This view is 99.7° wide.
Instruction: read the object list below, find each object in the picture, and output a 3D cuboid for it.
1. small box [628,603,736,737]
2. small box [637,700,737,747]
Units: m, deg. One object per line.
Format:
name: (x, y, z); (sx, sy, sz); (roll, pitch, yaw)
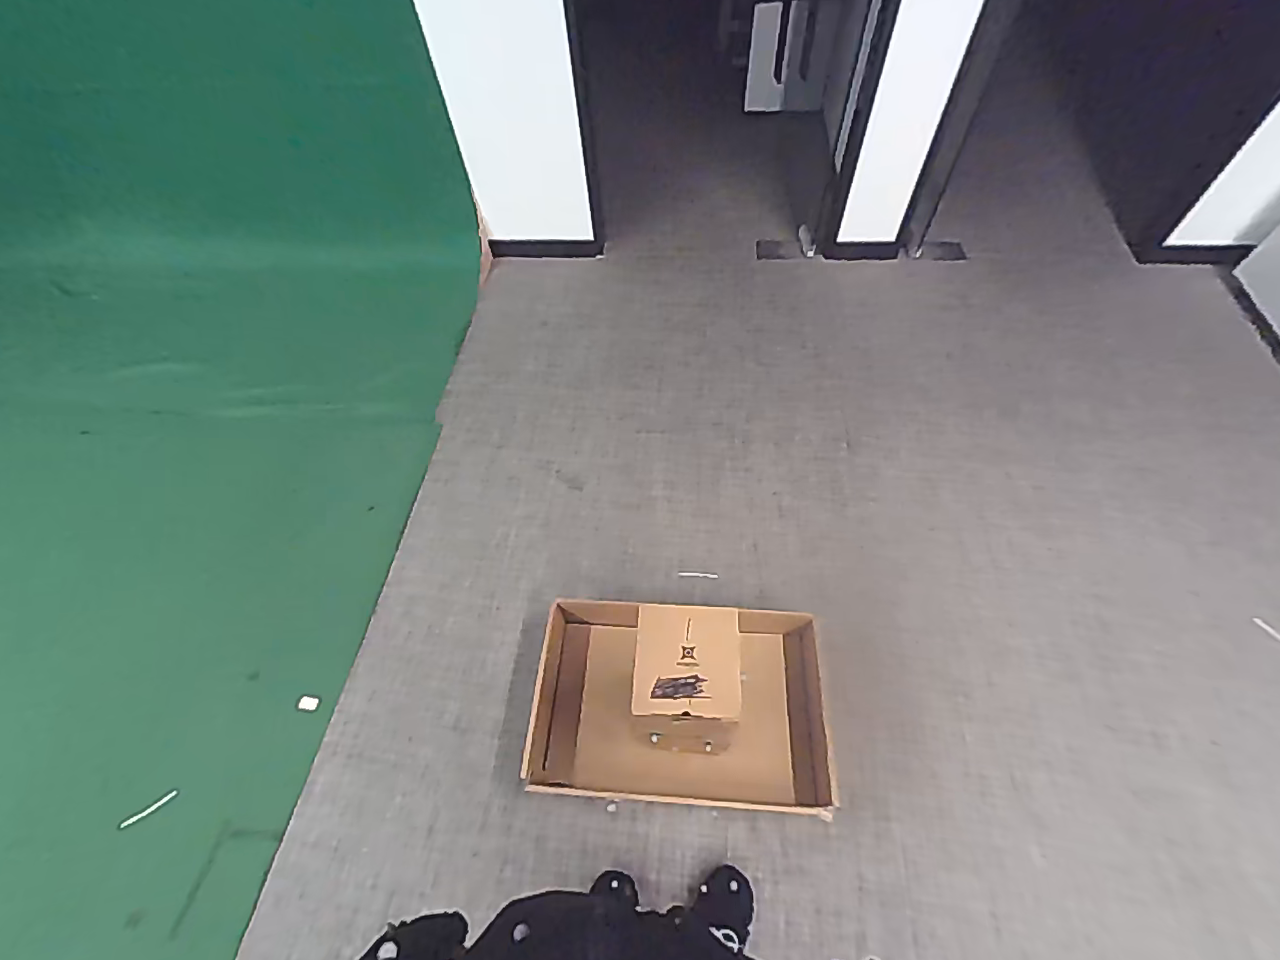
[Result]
small box: (0.074, 0.326, 0.919); (0.168, 0.176, 0.179); (2, 55, 5)
small box: (0.085, 0.411, 1.040); (0.179, 0.176, 0.168); (-1, 56, 3)
